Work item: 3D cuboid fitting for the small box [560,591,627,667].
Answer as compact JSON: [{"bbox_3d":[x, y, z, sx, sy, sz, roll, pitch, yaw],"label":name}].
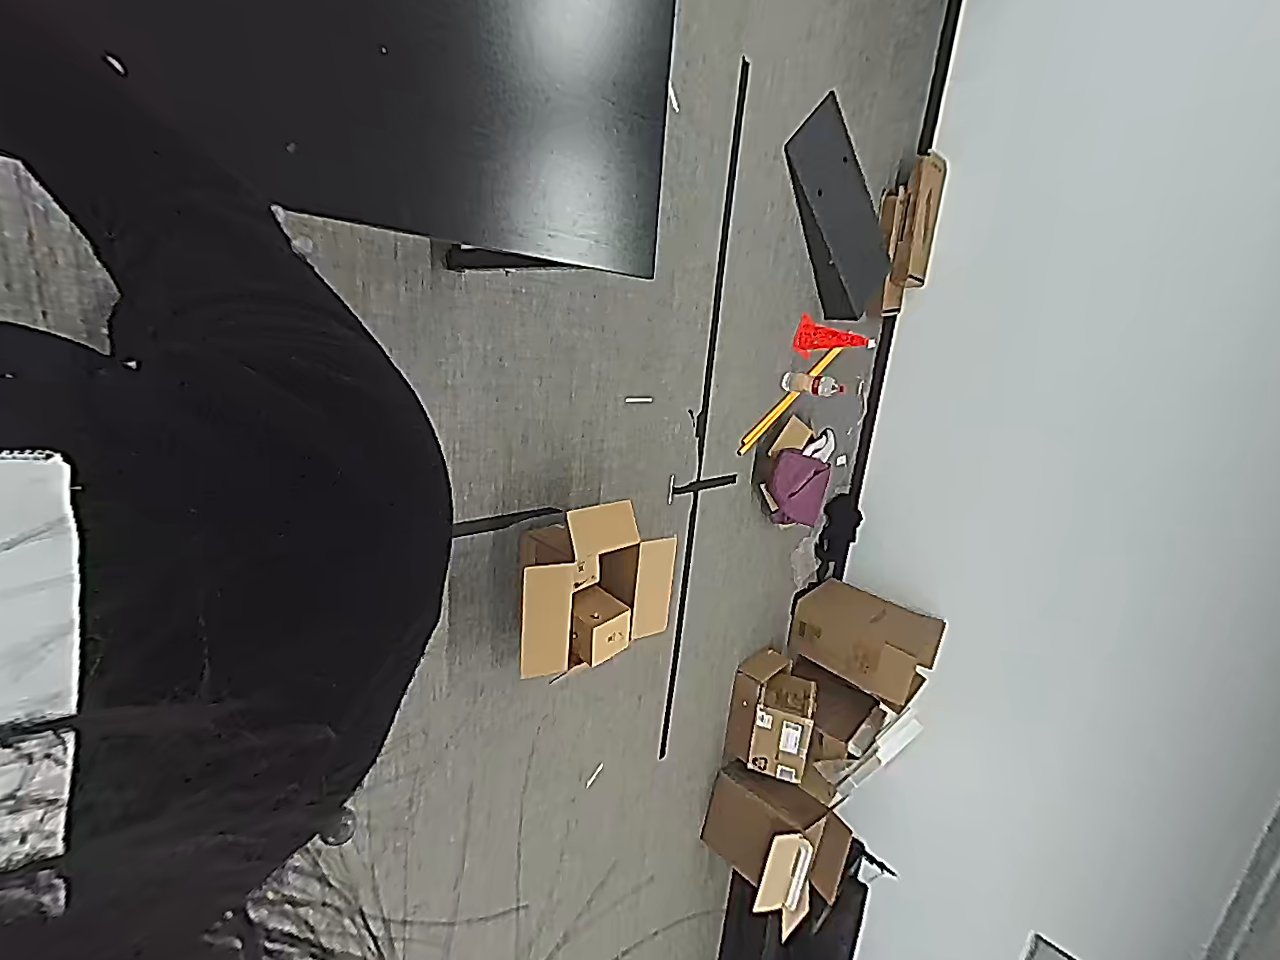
[{"bbox_3d":[-0.167,0.519,1.906,0.179,0.176,0.168,-18,121,-43],"label":"small box"}]
